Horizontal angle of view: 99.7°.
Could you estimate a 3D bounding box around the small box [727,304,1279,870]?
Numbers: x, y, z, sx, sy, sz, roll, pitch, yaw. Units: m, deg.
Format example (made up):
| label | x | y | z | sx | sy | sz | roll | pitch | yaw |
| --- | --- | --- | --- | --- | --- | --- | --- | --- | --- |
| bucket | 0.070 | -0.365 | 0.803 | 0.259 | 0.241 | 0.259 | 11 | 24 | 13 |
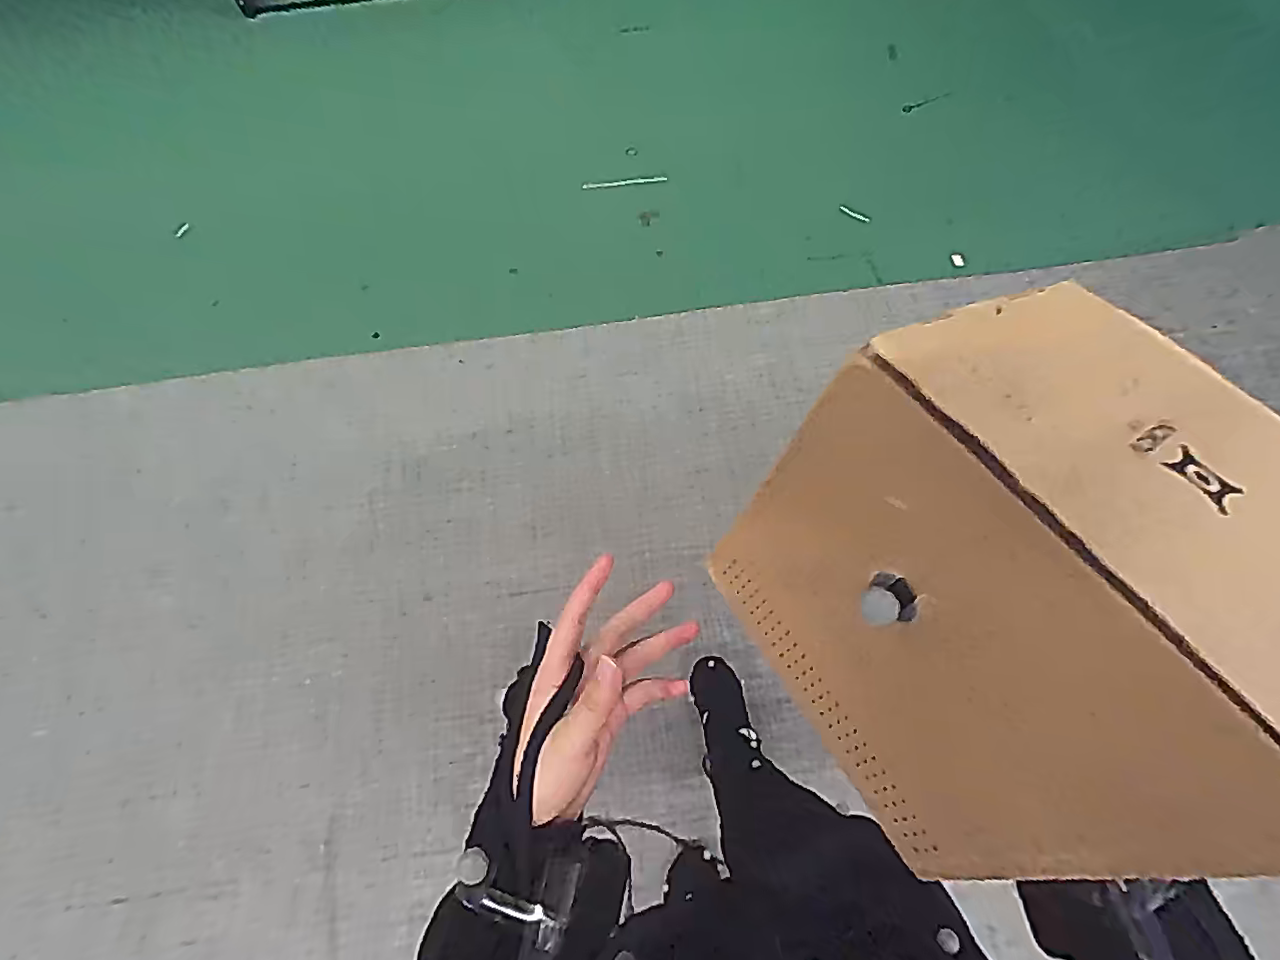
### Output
| label | x | y | z | sx | sy | sz | roll | pitch | yaw |
| --- | --- | --- | --- | --- | --- | --- | --- | --- | --- |
| small box | 0.170 | 0.048 | 0.258 | 0.168 | 0.176 | 0.179 | -21 | 61 | -28 |
